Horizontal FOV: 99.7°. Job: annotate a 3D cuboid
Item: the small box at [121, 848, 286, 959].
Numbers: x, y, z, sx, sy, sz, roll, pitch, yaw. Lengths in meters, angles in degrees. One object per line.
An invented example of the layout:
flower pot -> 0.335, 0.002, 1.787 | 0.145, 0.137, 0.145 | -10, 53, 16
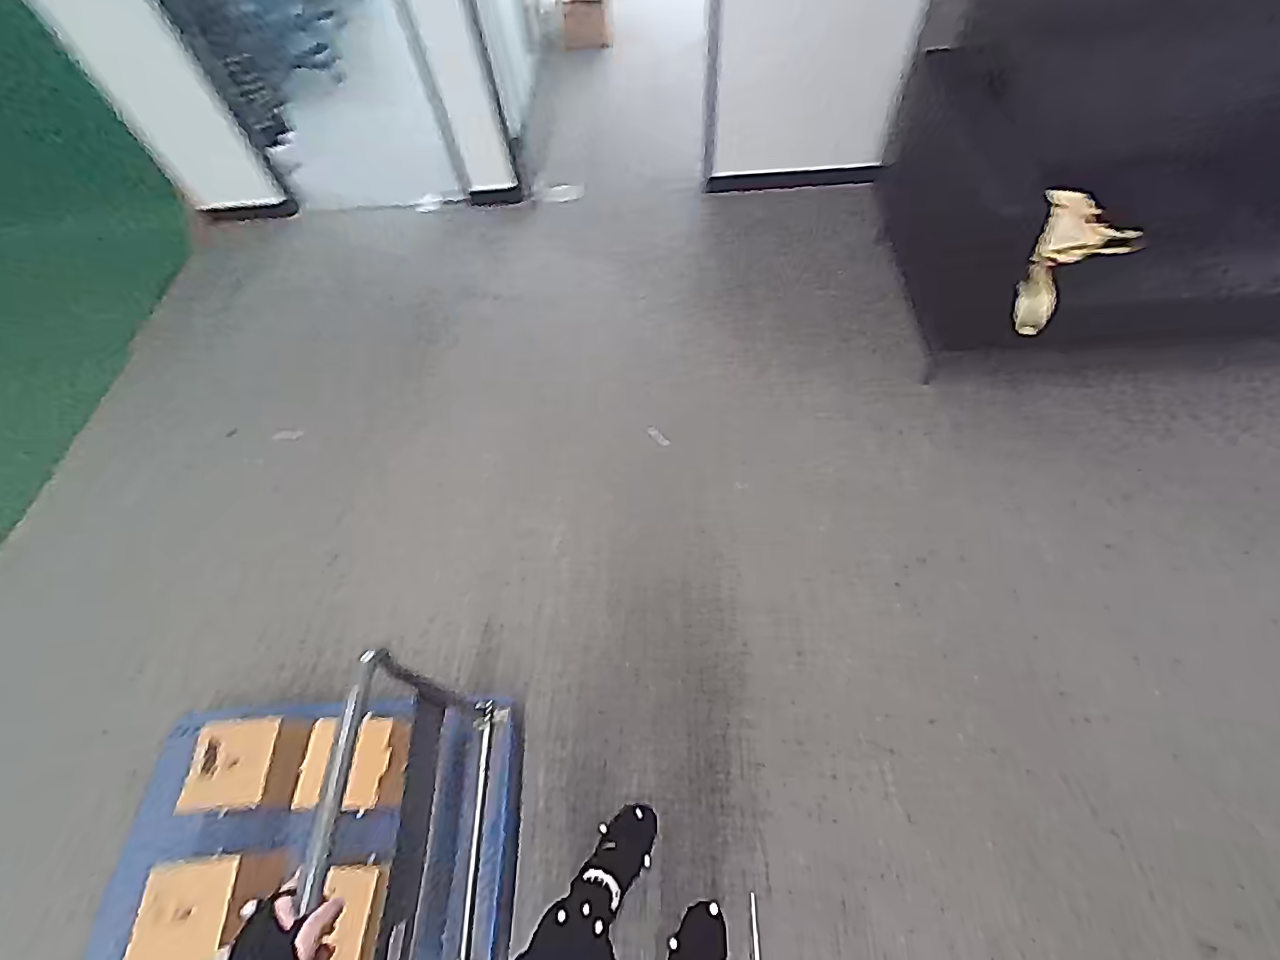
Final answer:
small box -> -0.859, 0.849, 1.086 | 0.179, 0.176, 0.168 | -6, 58, 0

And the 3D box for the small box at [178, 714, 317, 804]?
small box -> -0.865, 0.631, 1.218 | 0.179, 0.176, 0.168 | -4, 59, 1

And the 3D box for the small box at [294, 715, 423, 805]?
small box -> -0.617, 0.628, 1.207 | 0.179, 0.176, 0.168 | -1, 59, 3
